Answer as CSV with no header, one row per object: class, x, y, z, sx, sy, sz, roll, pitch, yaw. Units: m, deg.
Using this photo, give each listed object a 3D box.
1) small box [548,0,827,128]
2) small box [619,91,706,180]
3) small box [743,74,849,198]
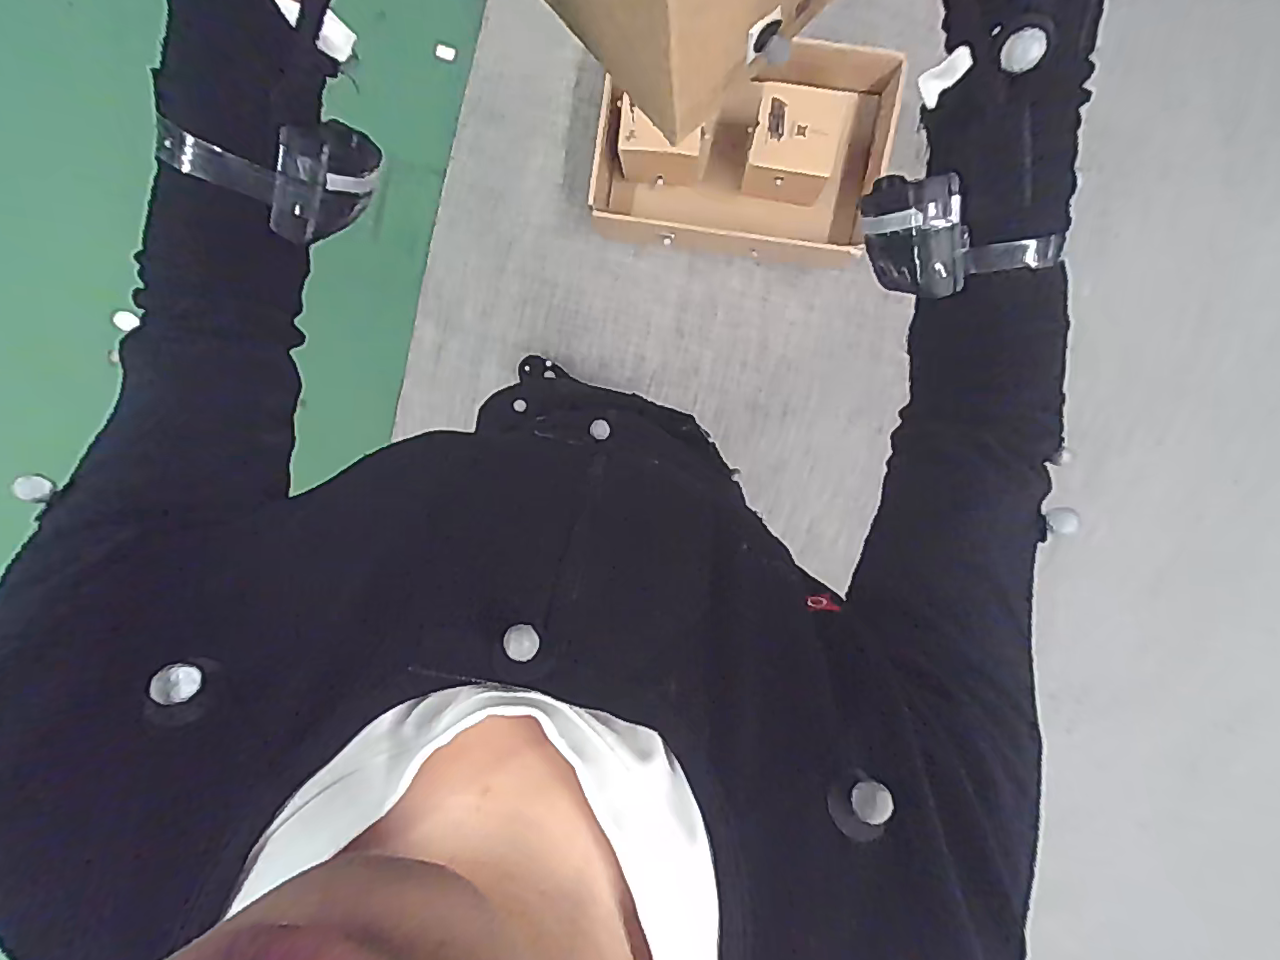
small box,0.017,-0.332,0.269,0.168,0.176,0.179,-41,91,9
small box,0.055,-0.791,1.204,0.179,0.176,0.168,7,98,2
small box,0.332,-0.743,1.187,0.179,0.176,0.168,12,99,4
